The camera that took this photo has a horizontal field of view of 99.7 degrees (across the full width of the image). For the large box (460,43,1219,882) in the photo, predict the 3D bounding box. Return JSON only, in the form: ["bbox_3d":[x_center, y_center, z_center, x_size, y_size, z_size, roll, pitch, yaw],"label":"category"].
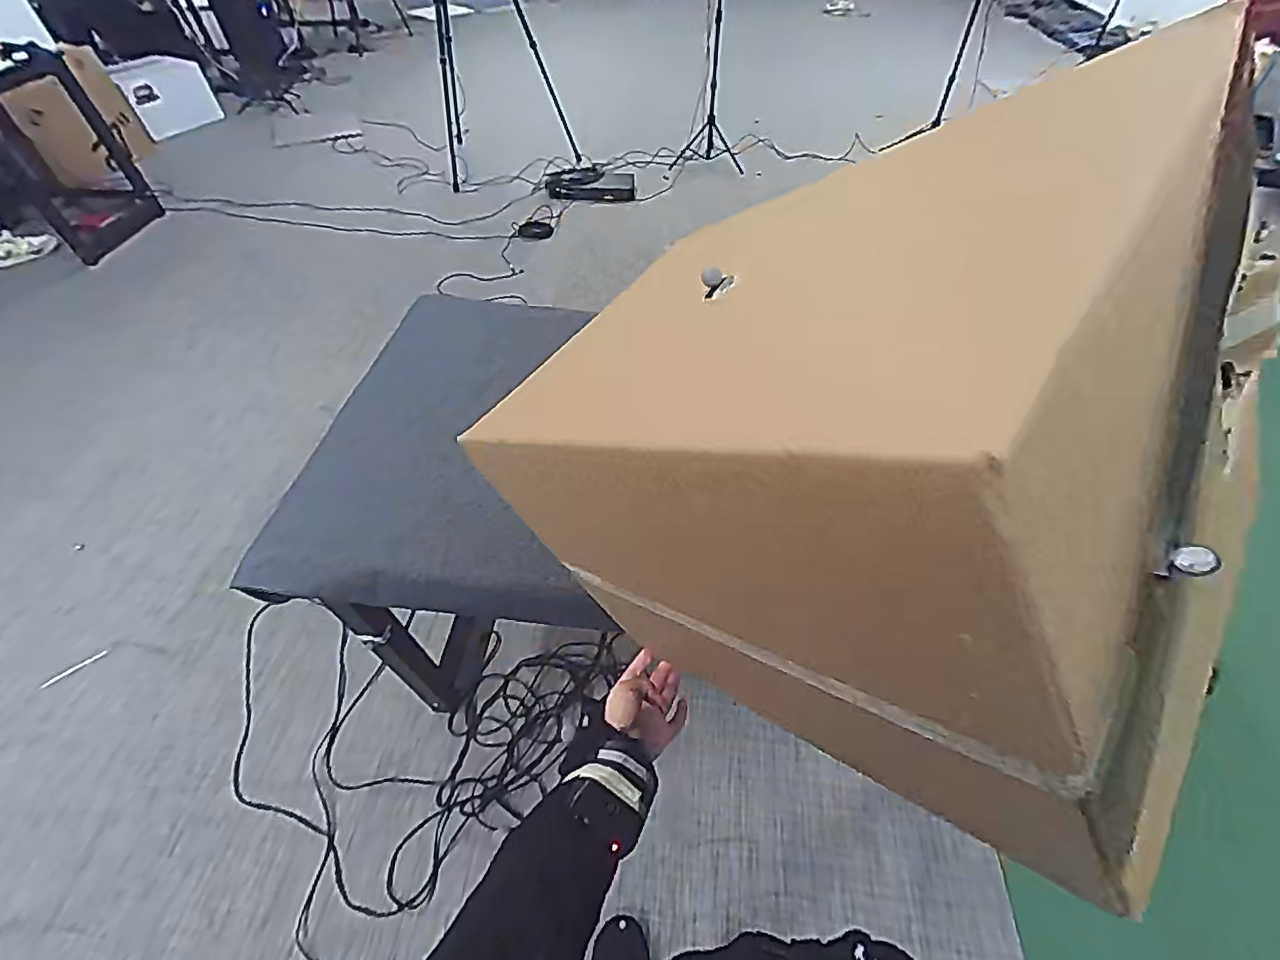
[{"bbox_3d":[0.135,-0.010,0.416,0.408,0.320,0.320,6,49,52],"label":"large box"}]
